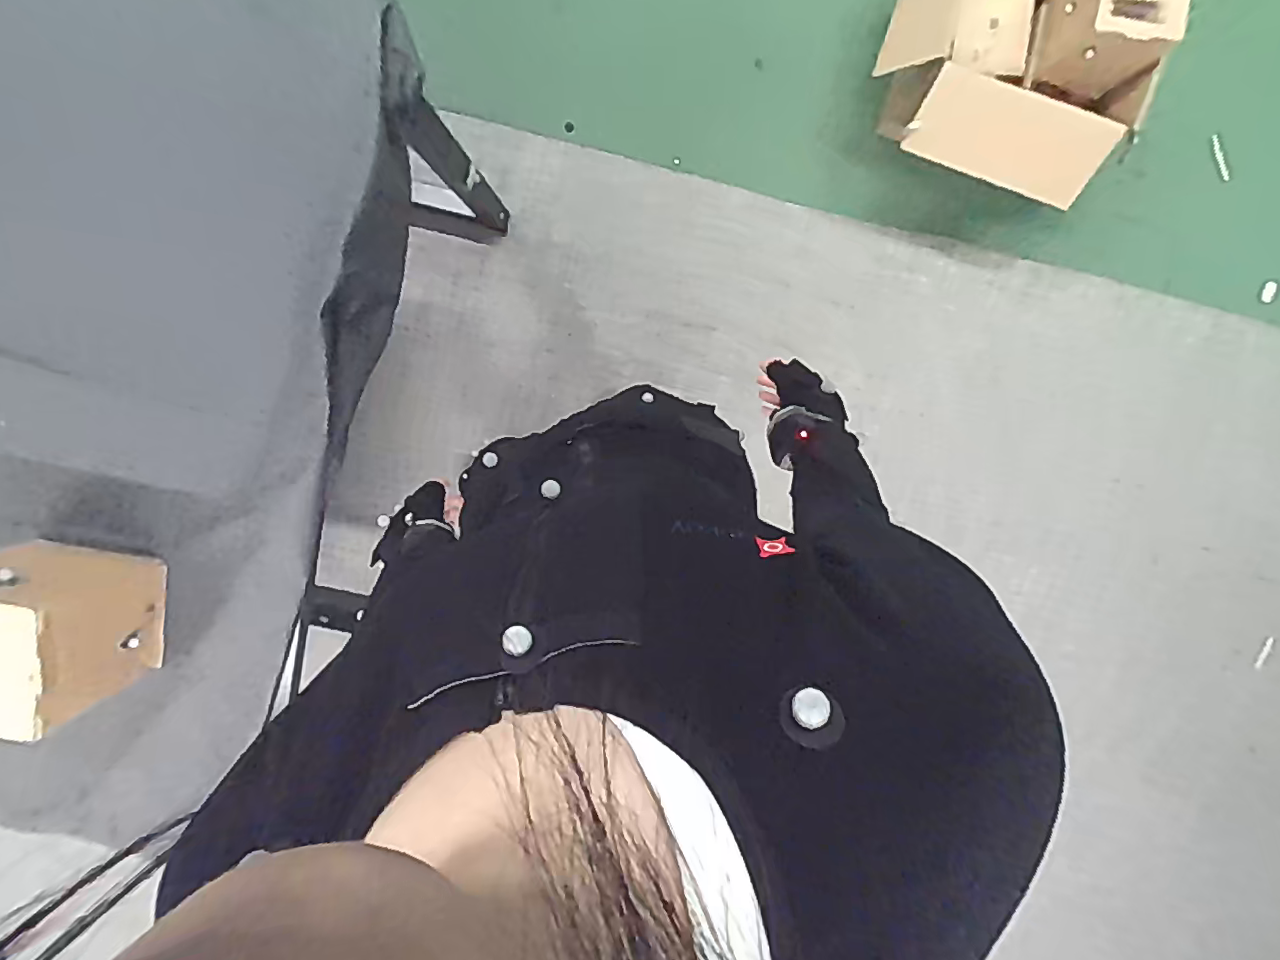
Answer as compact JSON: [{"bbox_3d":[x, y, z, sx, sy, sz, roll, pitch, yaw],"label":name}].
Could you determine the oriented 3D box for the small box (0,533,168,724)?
[{"bbox_3d":[-0.764,0.175,0.687,0.179,0.176,0.168,11,99,-4],"label":"small box"}]
